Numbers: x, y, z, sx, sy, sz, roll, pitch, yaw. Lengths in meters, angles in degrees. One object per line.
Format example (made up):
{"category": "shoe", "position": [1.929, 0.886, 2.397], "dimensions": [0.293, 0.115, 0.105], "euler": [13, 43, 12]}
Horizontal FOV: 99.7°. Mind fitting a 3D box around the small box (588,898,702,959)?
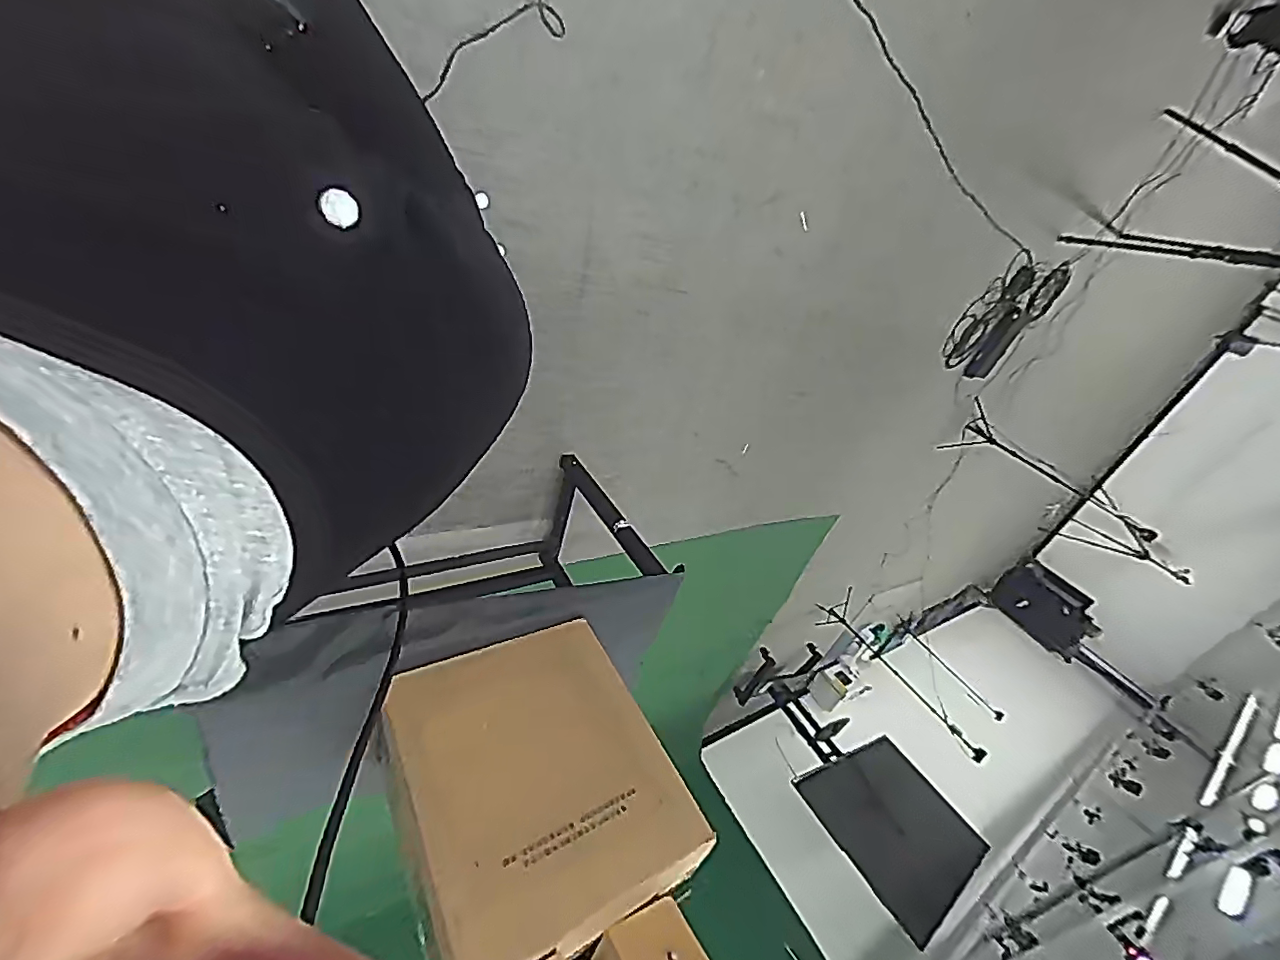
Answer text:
{"category": "small box", "position": [0.010, 0.988, 1.074], "dimensions": [0.179, 0.176, 0.168], "euler": [6, 111, -41]}
